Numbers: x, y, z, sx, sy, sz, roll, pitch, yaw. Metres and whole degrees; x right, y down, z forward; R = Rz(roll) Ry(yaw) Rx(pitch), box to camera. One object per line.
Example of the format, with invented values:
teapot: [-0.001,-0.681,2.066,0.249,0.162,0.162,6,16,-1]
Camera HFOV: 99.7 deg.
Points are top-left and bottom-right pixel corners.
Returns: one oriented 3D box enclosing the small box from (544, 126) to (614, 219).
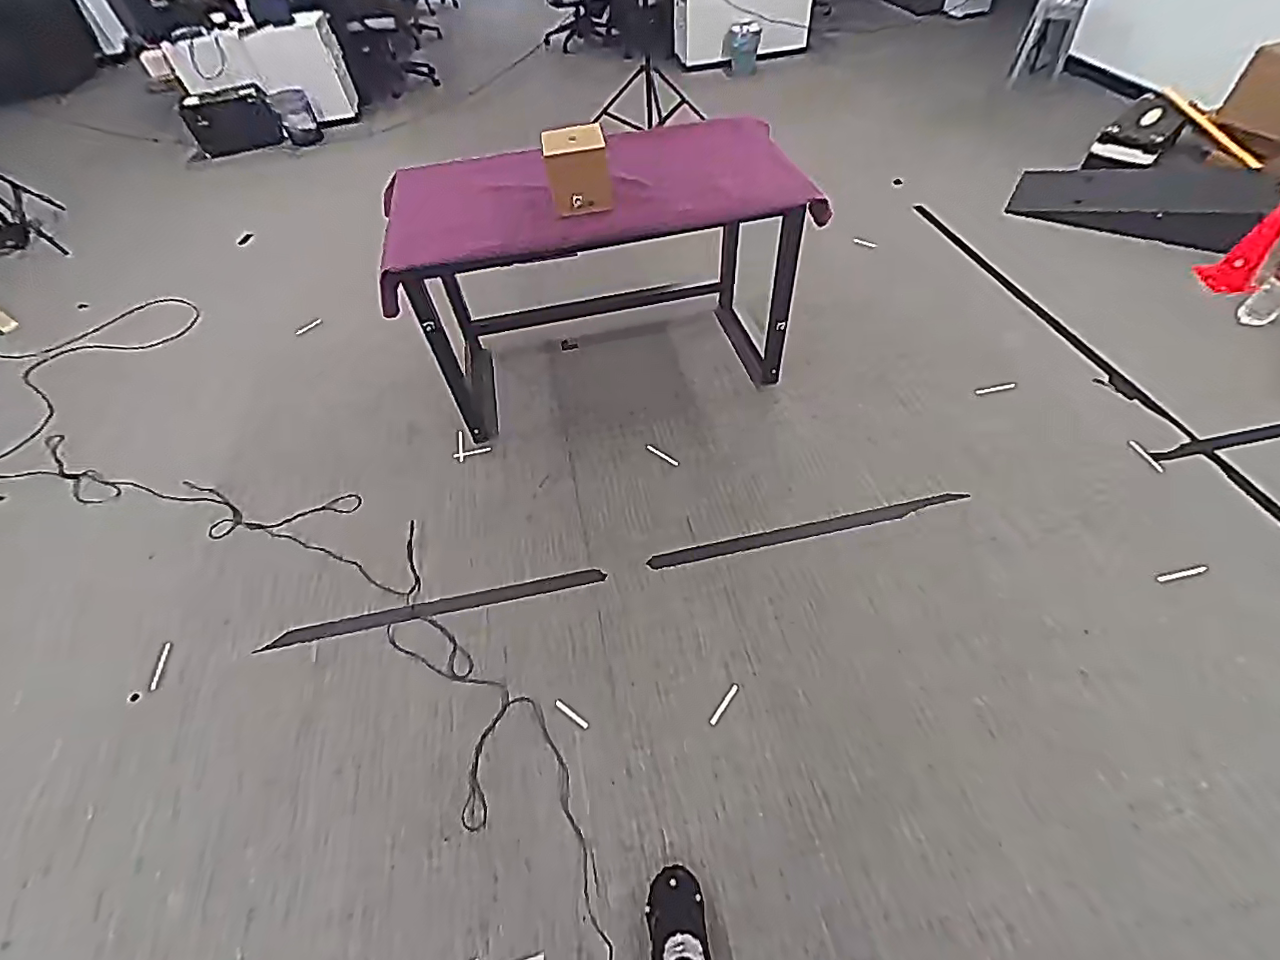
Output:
small box: [-0.171,-0.864,1.521,0.168,0.176,0.179,-11,52,-2]
